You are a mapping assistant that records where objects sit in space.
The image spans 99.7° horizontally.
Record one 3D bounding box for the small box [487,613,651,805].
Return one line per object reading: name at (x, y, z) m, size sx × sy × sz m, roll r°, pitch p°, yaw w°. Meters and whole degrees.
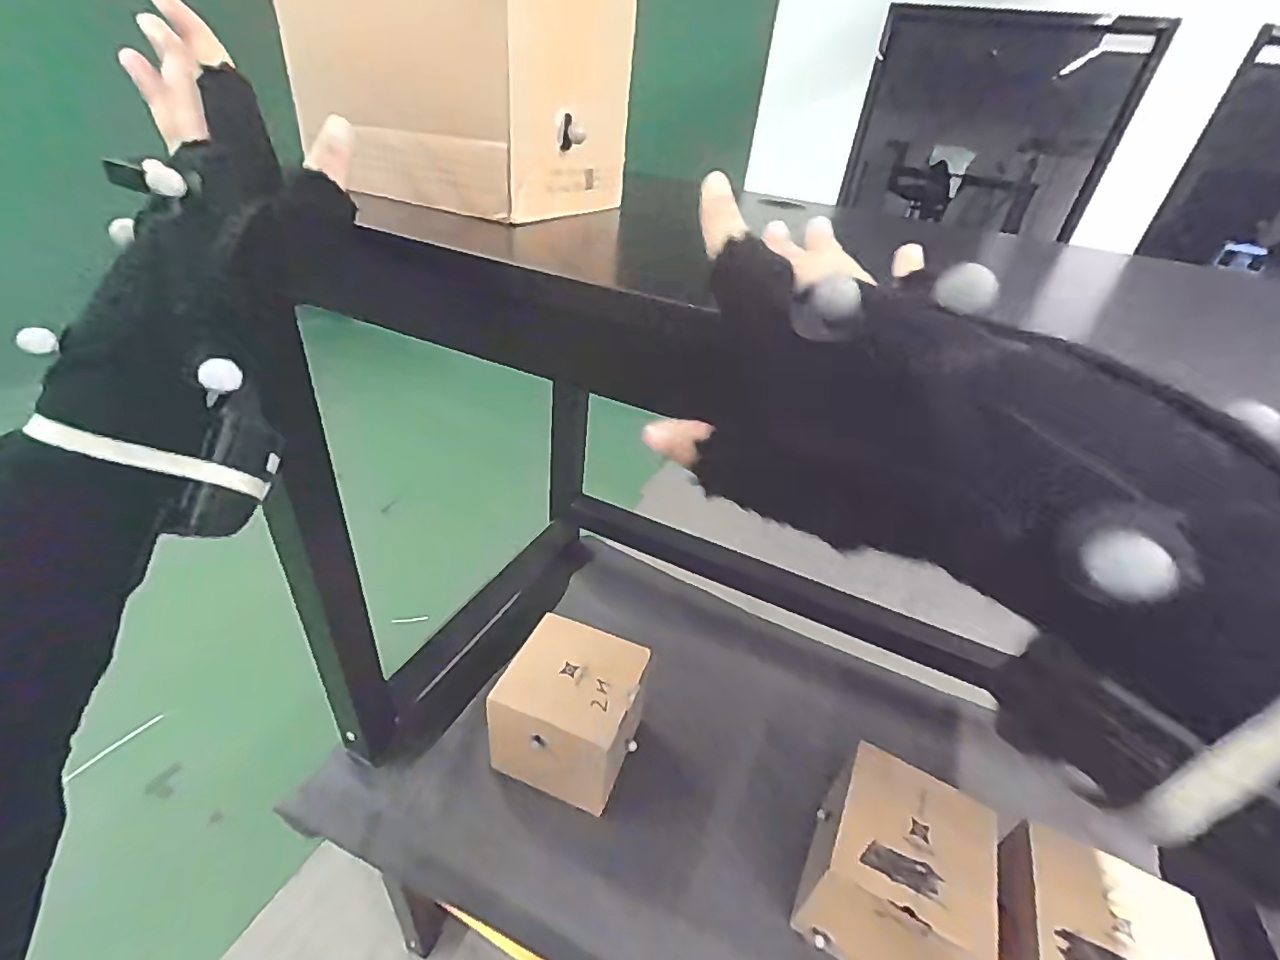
small box at (-0.101, 0.332, 0.787) m, size 0.179 × 0.176 × 0.168 m, roll 17°, pitch 35°, yaw 14°
